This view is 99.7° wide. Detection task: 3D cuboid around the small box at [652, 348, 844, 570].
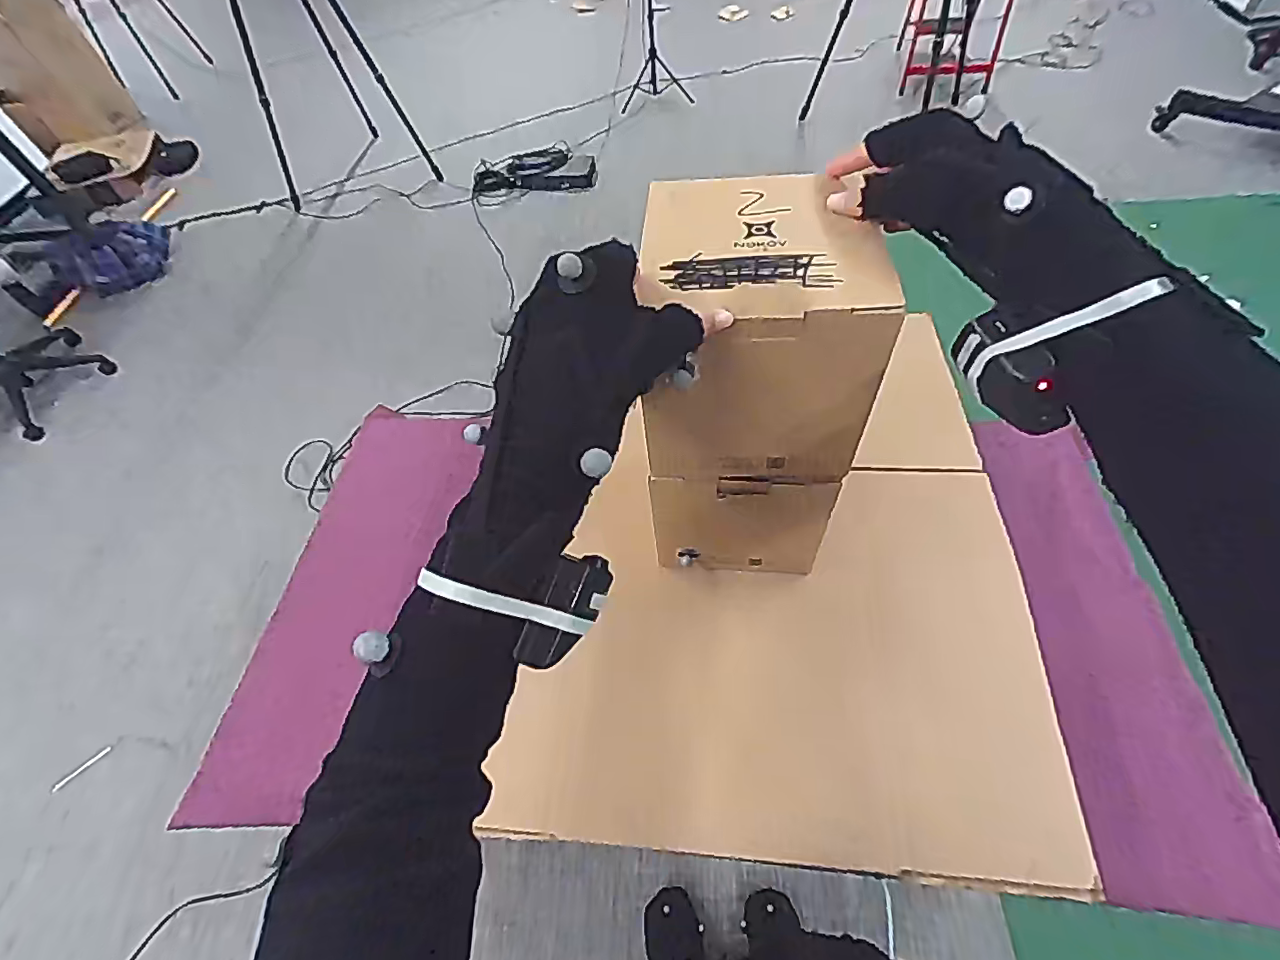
[{"bbox_3d":[0.103,-0.015,0.571,0.168,0.176,0.179,-1,55,5],"label":"small box"}]
